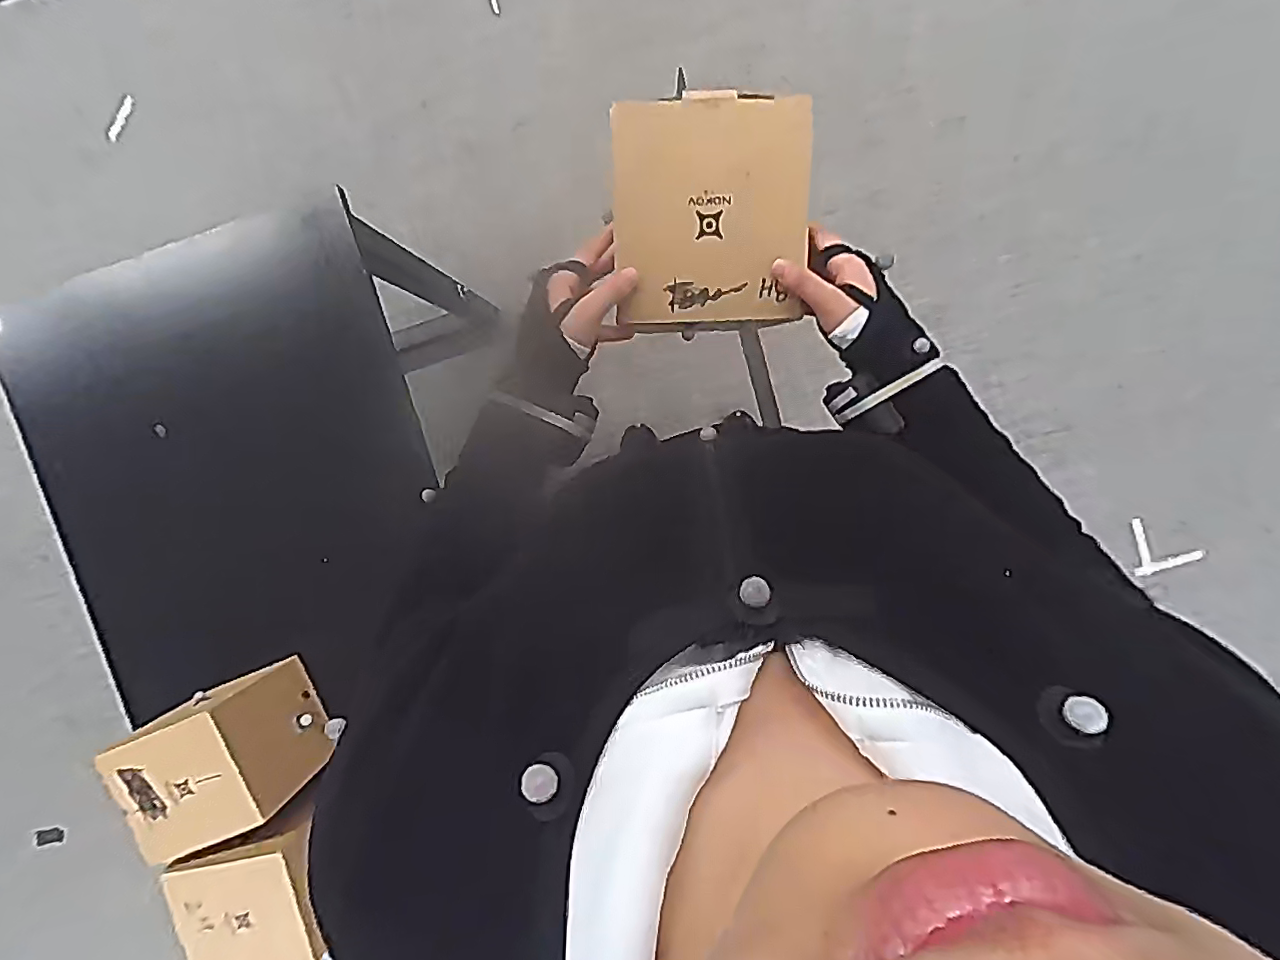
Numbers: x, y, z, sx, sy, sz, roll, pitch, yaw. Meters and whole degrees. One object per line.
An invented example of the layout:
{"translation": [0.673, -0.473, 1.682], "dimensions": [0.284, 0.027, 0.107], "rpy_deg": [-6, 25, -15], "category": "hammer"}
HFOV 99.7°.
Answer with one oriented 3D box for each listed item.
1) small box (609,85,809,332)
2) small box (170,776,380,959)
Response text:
{"translation": [0.058, -0.244, 0.527], "dimensions": [0.168, 0.176, 0.179], "rpy_deg": [-2, 101, 2], "category": "small box"}
{"translation": [-0.504, 0.559, 0.779], "dimensions": [0.179, 0.176, 0.168], "rpy_deg": [-13, 93, 6], "category": "small box"}
